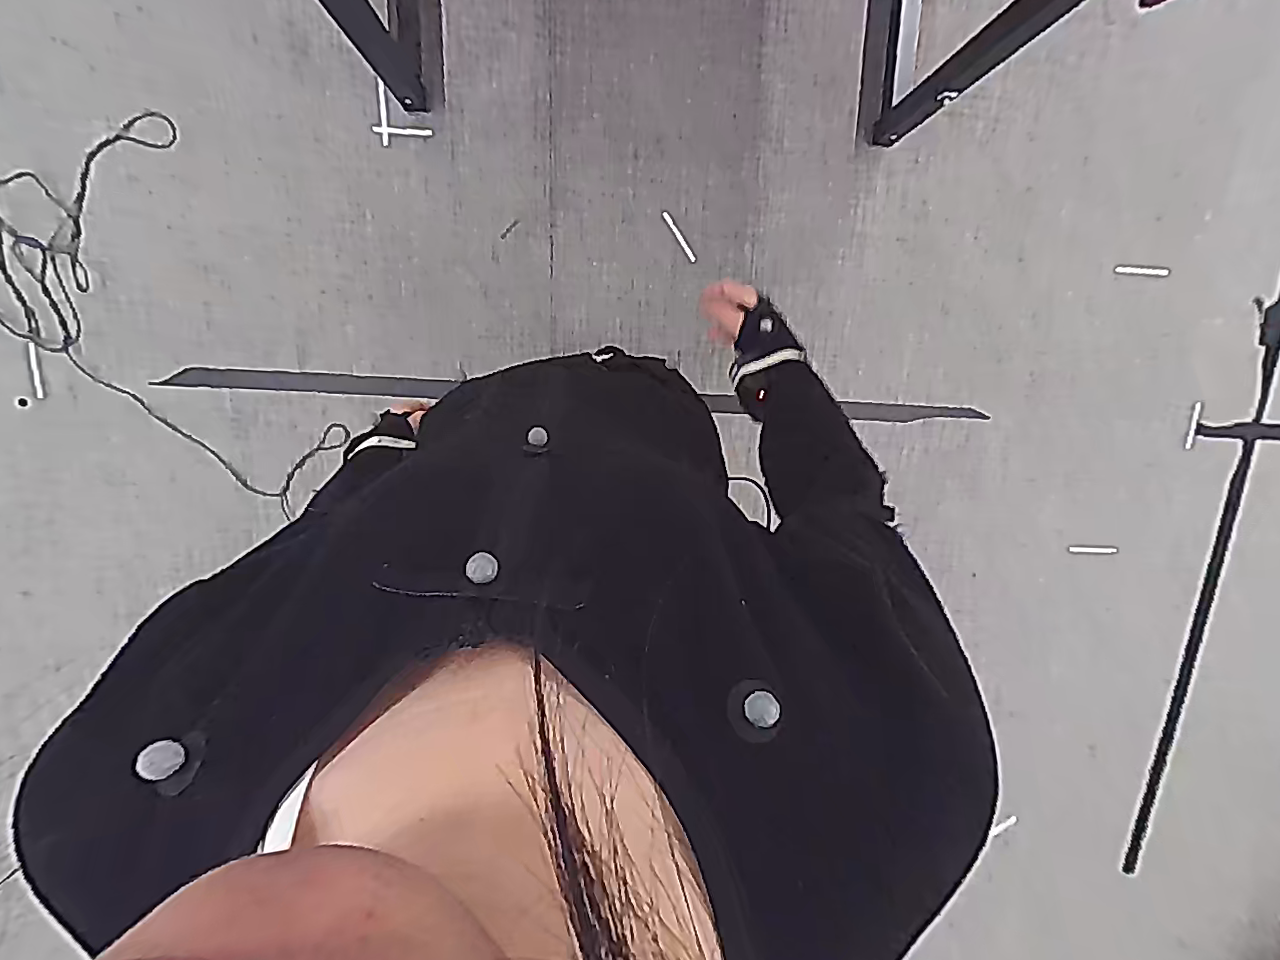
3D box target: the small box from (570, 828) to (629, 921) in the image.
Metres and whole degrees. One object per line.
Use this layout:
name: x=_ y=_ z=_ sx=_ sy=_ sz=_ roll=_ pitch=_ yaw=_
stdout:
small box: x=-0.125 y=1.217 z=1.675 sx=0.168 sy=0.176 sz=0.179 roll=4 pitch=103 yaw=-4

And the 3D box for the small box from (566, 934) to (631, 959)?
small box: x=-0.107 y=1.293 z=1.355 sx=0.168 sy=0.176 sz=0.179 roll=2 pitch=102 yaw=-4
